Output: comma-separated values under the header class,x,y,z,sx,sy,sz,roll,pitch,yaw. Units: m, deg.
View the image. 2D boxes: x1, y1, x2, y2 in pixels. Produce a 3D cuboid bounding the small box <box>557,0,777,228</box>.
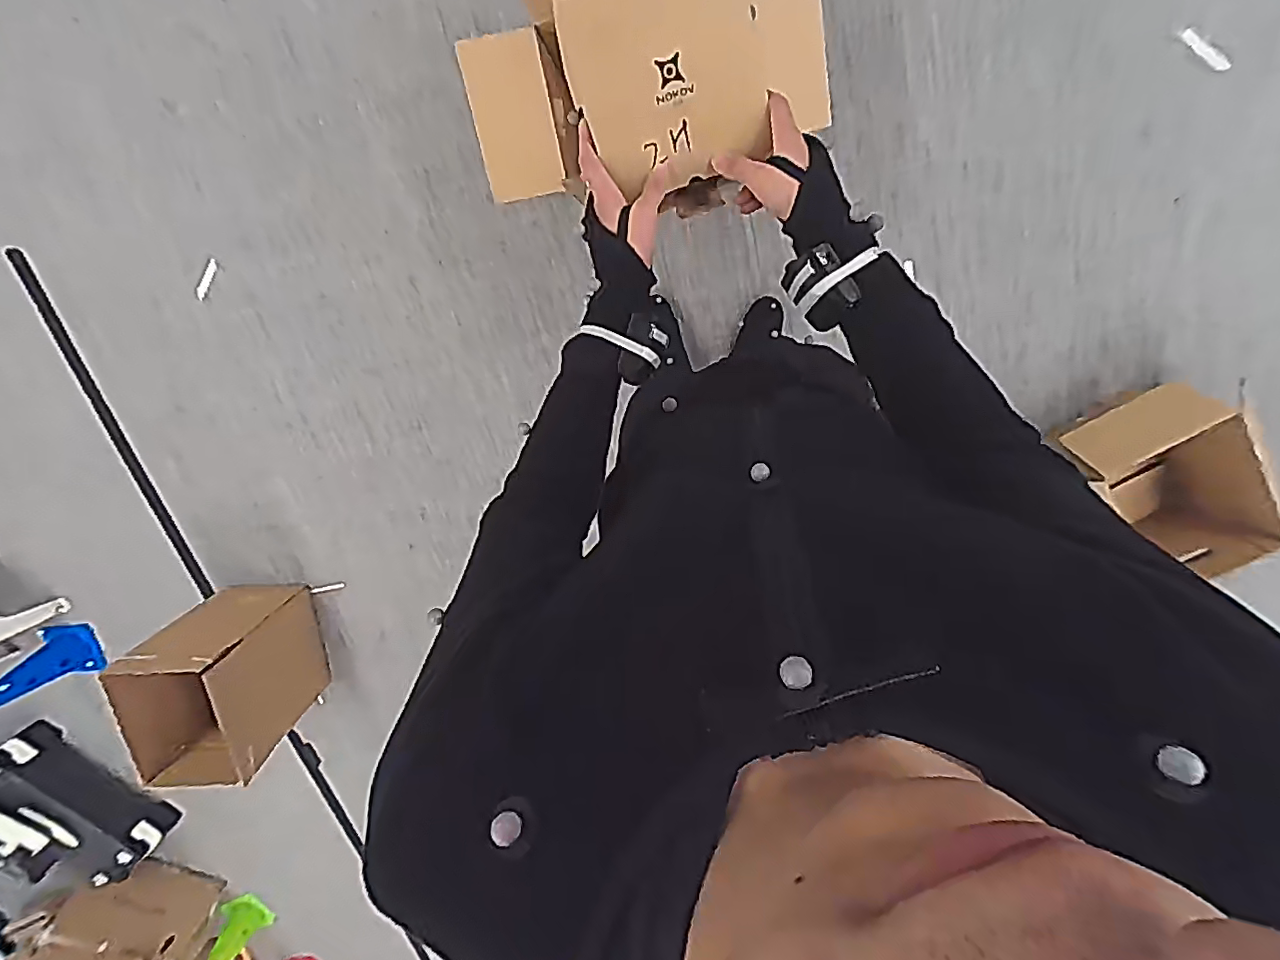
class,x,y,z,sx,sy,sz,roll,pitch,yaw
small box,0.023,-0.383,0.561,0.168,0.176,0.179,-18,111,3
